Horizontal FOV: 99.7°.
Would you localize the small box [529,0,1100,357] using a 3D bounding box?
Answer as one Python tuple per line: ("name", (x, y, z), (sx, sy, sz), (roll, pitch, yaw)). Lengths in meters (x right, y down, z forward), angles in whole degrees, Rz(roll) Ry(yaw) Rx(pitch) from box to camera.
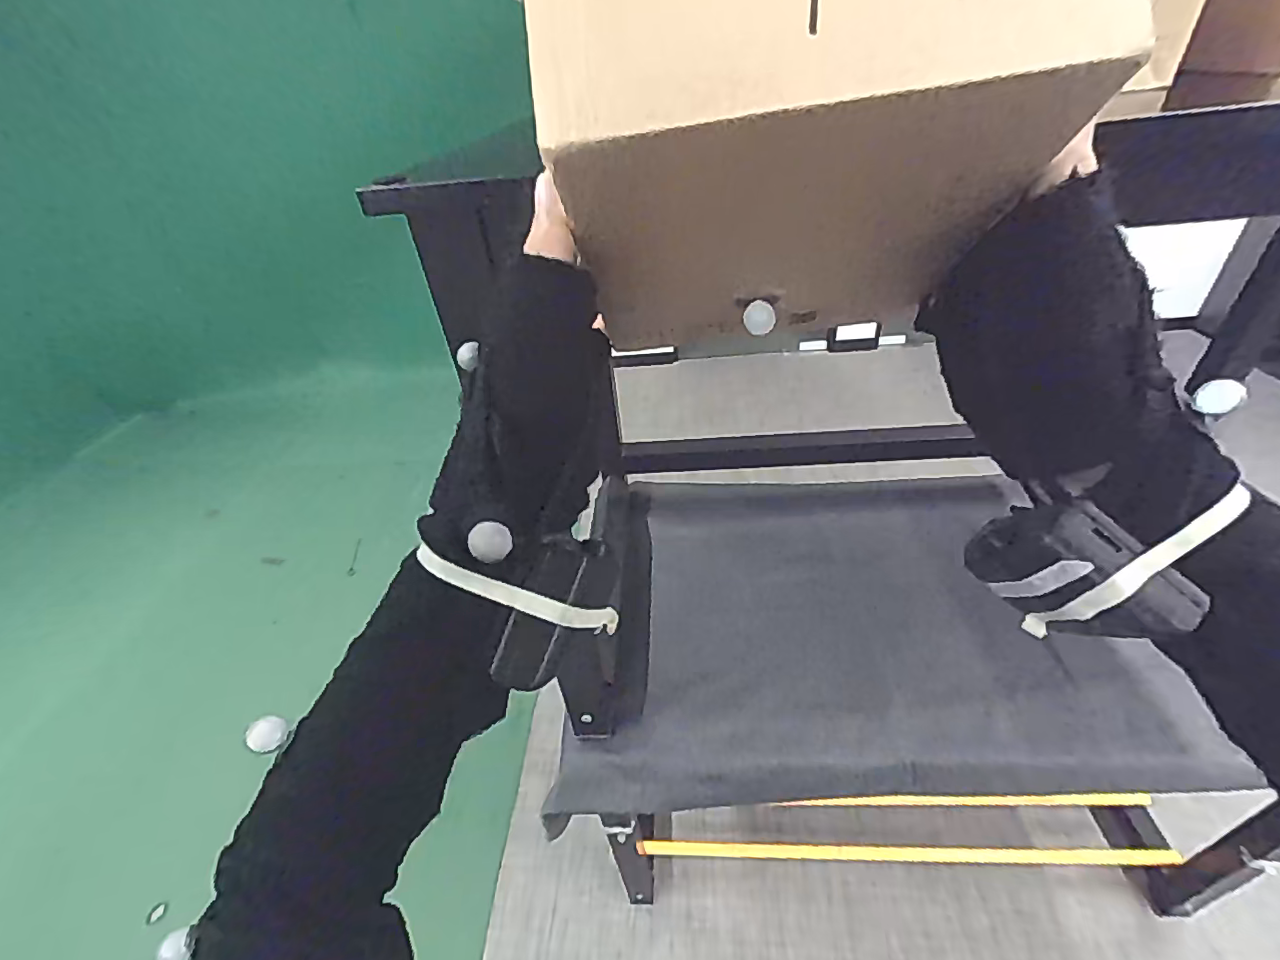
("small box", (0.050, -0.174, 0.249), (0.168, 0.179, 0.176), (-6, -7, 5))
